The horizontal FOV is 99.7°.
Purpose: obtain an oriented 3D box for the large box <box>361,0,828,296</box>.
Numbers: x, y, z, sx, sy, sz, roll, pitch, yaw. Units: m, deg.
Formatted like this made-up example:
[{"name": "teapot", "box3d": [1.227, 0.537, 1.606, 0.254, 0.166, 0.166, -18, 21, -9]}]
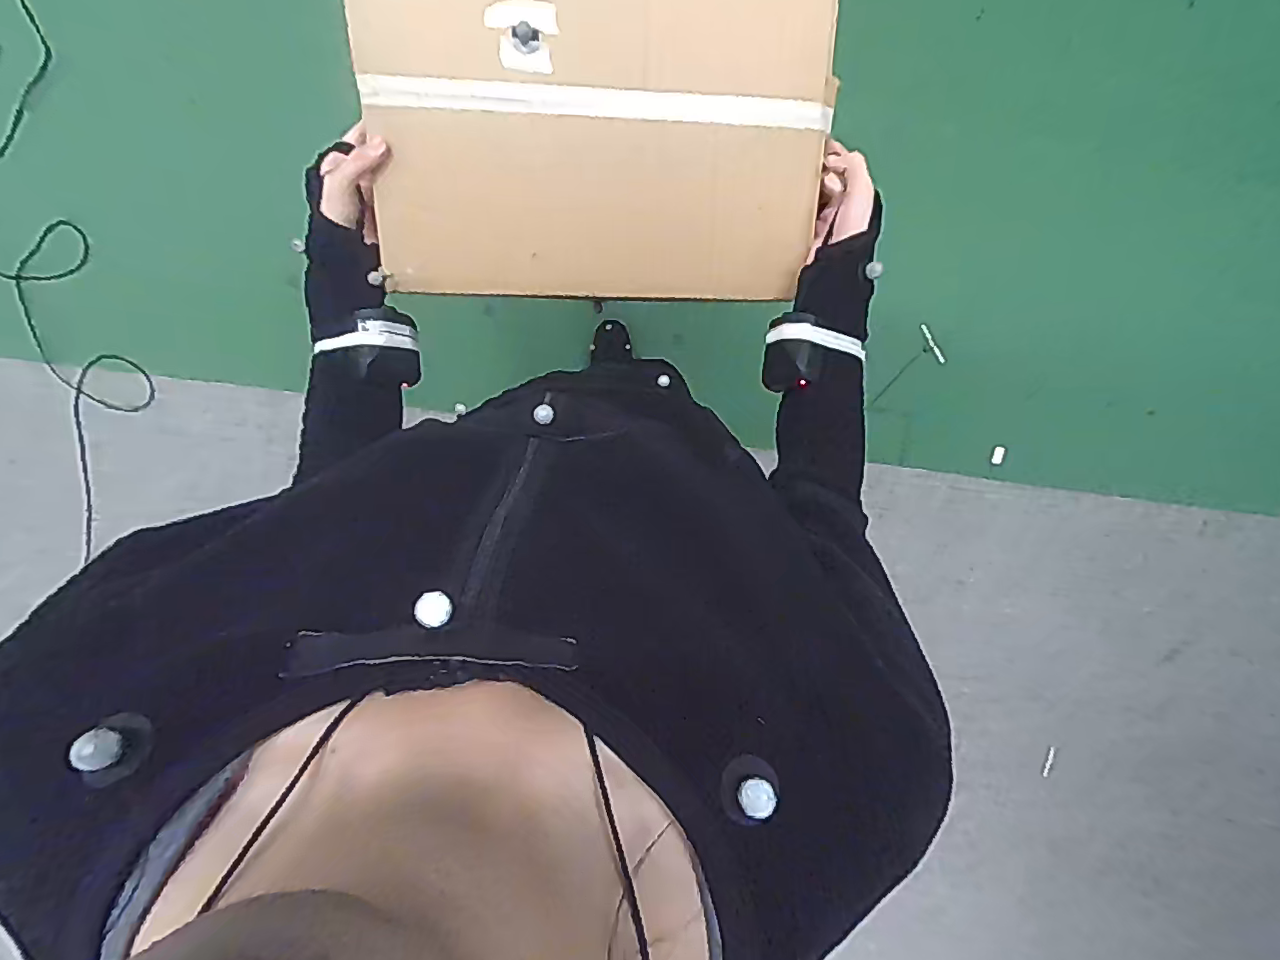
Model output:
[{"name": "large box", "box3d": [-0.048, -0.383, 0.623, 0.408, 0.320, 0.320, -1, 109, -7]}]
